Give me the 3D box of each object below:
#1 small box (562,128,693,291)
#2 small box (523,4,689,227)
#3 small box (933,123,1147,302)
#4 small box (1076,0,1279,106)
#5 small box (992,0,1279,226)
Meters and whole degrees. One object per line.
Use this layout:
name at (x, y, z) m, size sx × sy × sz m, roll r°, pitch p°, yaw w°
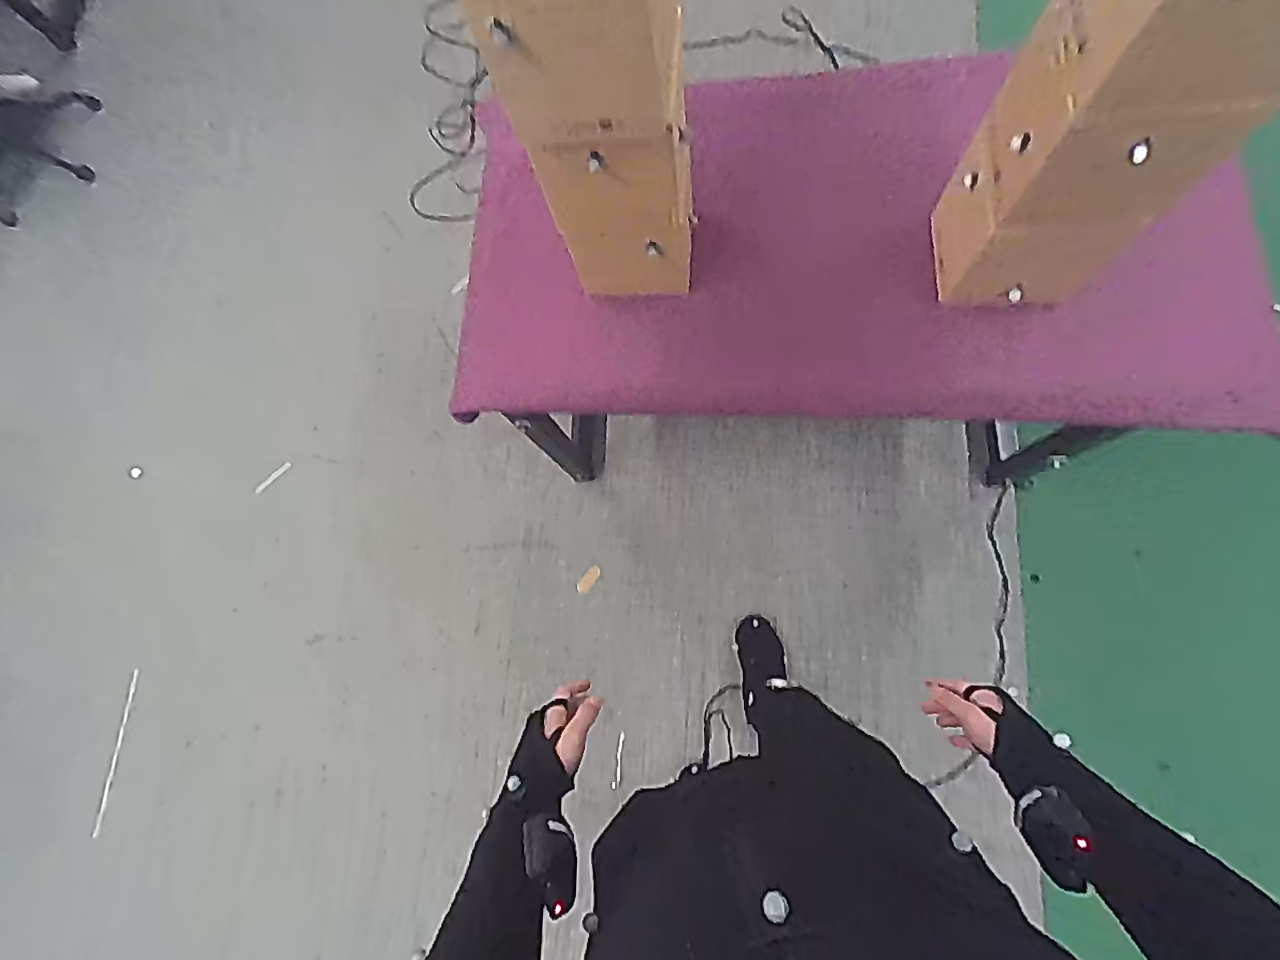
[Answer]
small box at (-0.008, -0.412, 0.842) m, size 0.179 × 0.176 × 0.168 m, roll 2°, pitch 77°, yaw 8°
small box at (-0.030, -0.445, 0.686) m, size 0.179 × 0.176 × 0.168 m, roll 2°, pitch 78°, yaw 9°
small box at (0.538, -0.365, 0.754) m, size 0.179 × 0.176 × 0.168 m, roll 1°, pitch 77°, yaw 8°
small box at (0.496, -0.442, 0.438) m, size 0.179 × 0.176 × 0.168 m, roll 1°, pitch 78°, yaw 9°
small box at (0.516, -0.404, 0.597) m, size 0.179 × 0.176 × 0.168 m, roll 2°, pitch 78°, yaw 9°
